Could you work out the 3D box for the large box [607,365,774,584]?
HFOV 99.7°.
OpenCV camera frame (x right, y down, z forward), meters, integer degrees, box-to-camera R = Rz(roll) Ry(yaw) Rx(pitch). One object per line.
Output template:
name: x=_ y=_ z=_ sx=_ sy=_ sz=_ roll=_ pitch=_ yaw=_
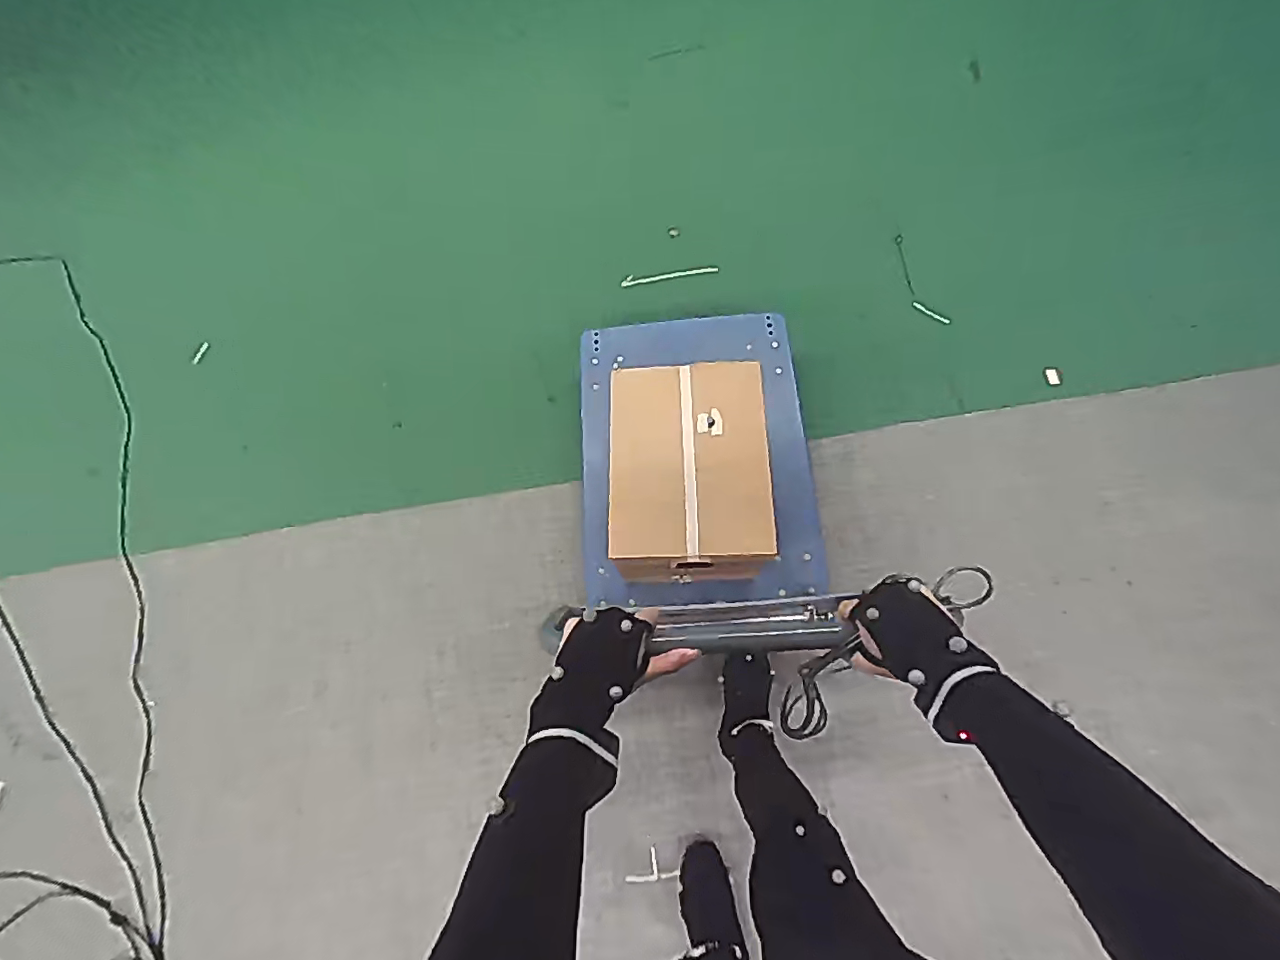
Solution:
large box: x=0.103 y=0.006 z=1.207 sx=0.320 sy=0.320 sz=0.408 roll=-2 pitch=70 yaw=4
